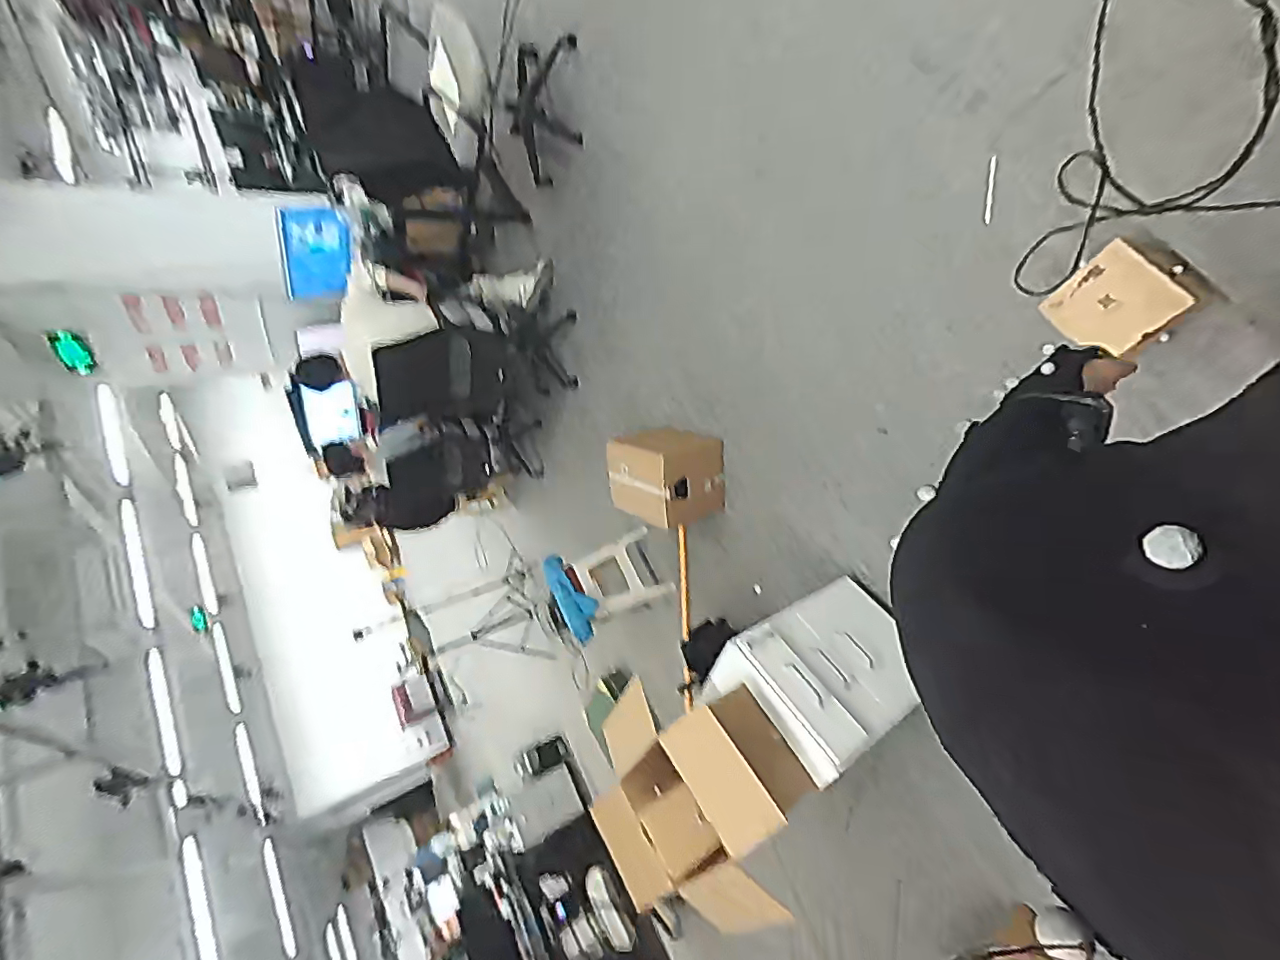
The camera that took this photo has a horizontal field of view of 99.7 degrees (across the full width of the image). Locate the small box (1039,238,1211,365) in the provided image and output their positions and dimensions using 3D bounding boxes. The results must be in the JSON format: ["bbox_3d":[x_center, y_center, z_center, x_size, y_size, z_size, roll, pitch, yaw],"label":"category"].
[{"bbox_3d":[0.952,-0.355,1.062,0.179,0.176,0.168,58,144,21],"label":"small box"}]
